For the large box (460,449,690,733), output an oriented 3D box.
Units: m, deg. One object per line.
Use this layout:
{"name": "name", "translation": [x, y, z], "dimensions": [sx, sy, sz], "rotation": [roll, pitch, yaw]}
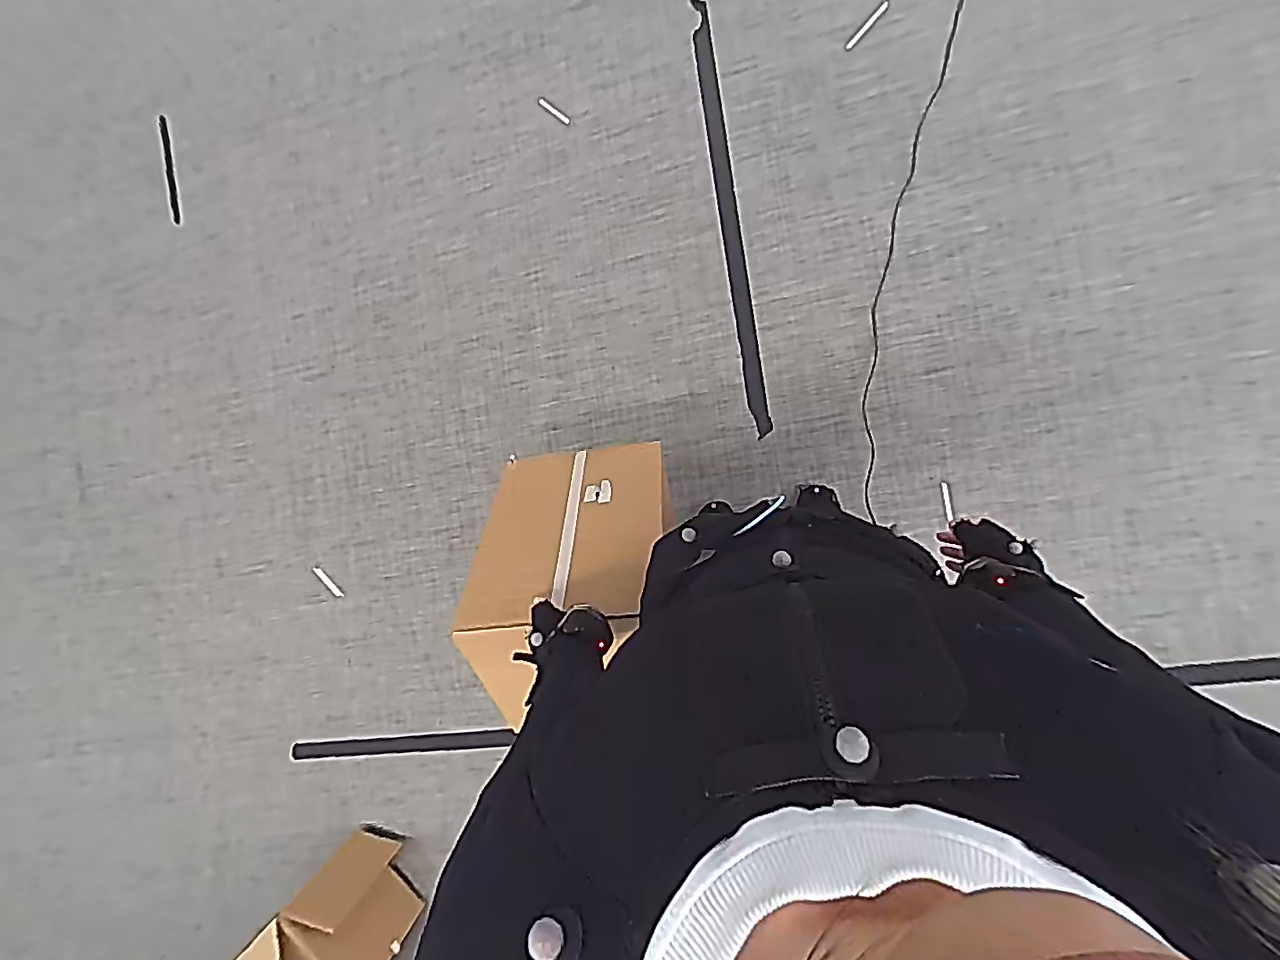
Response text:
{"name": "large box", "translation": [-0.088, 0.196, 1.009], "dimensions": [0.320, 0.408, 0.320], "rotation": [-6, 128, 6]}
